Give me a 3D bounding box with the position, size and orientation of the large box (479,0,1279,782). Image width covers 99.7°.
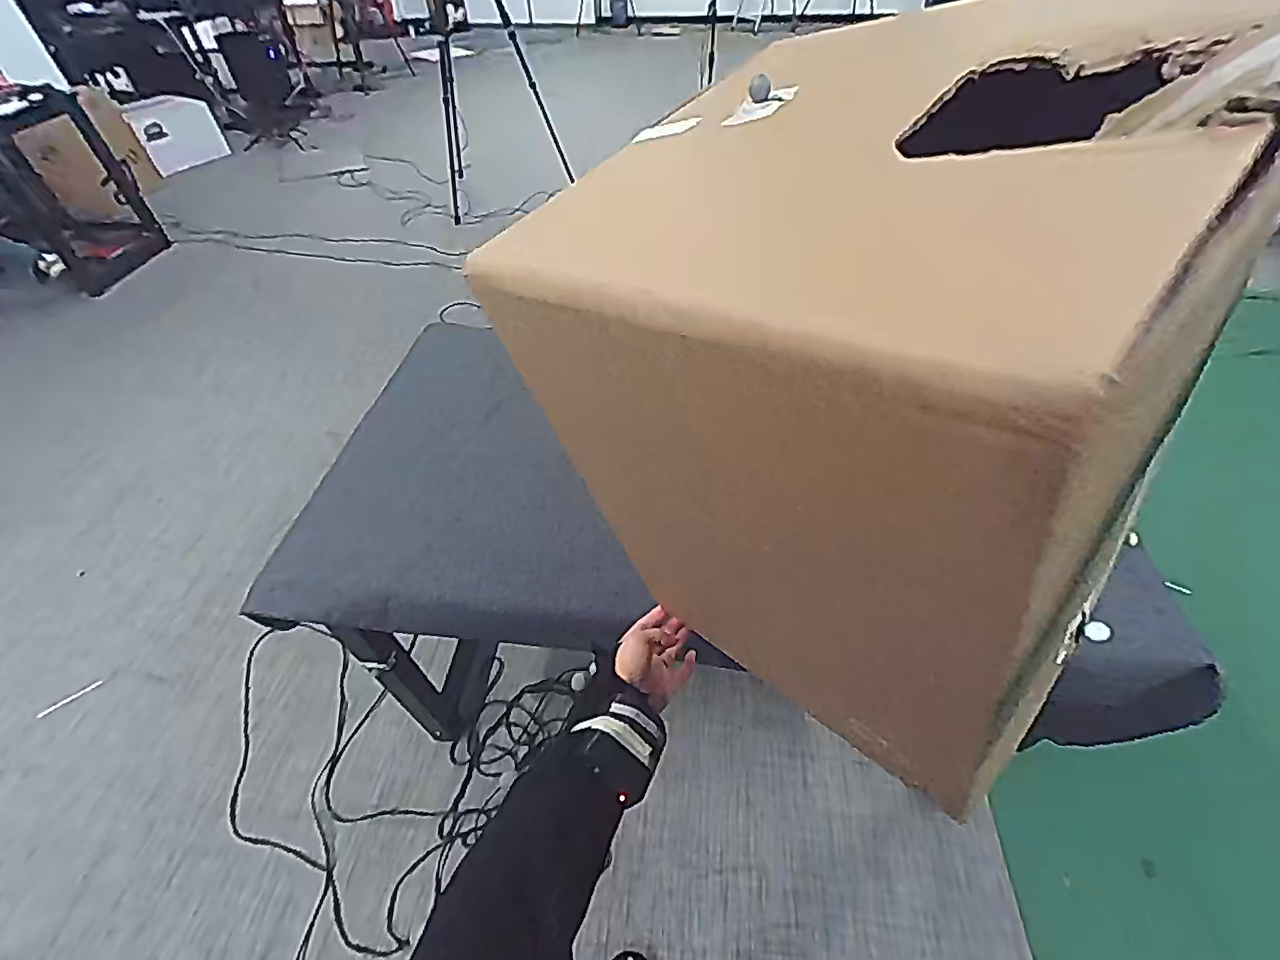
[{"bbox_3d":[0.161,-0.049,0.414,0.320,0.408,0.320,28,65,40],"label":"large box"}]
